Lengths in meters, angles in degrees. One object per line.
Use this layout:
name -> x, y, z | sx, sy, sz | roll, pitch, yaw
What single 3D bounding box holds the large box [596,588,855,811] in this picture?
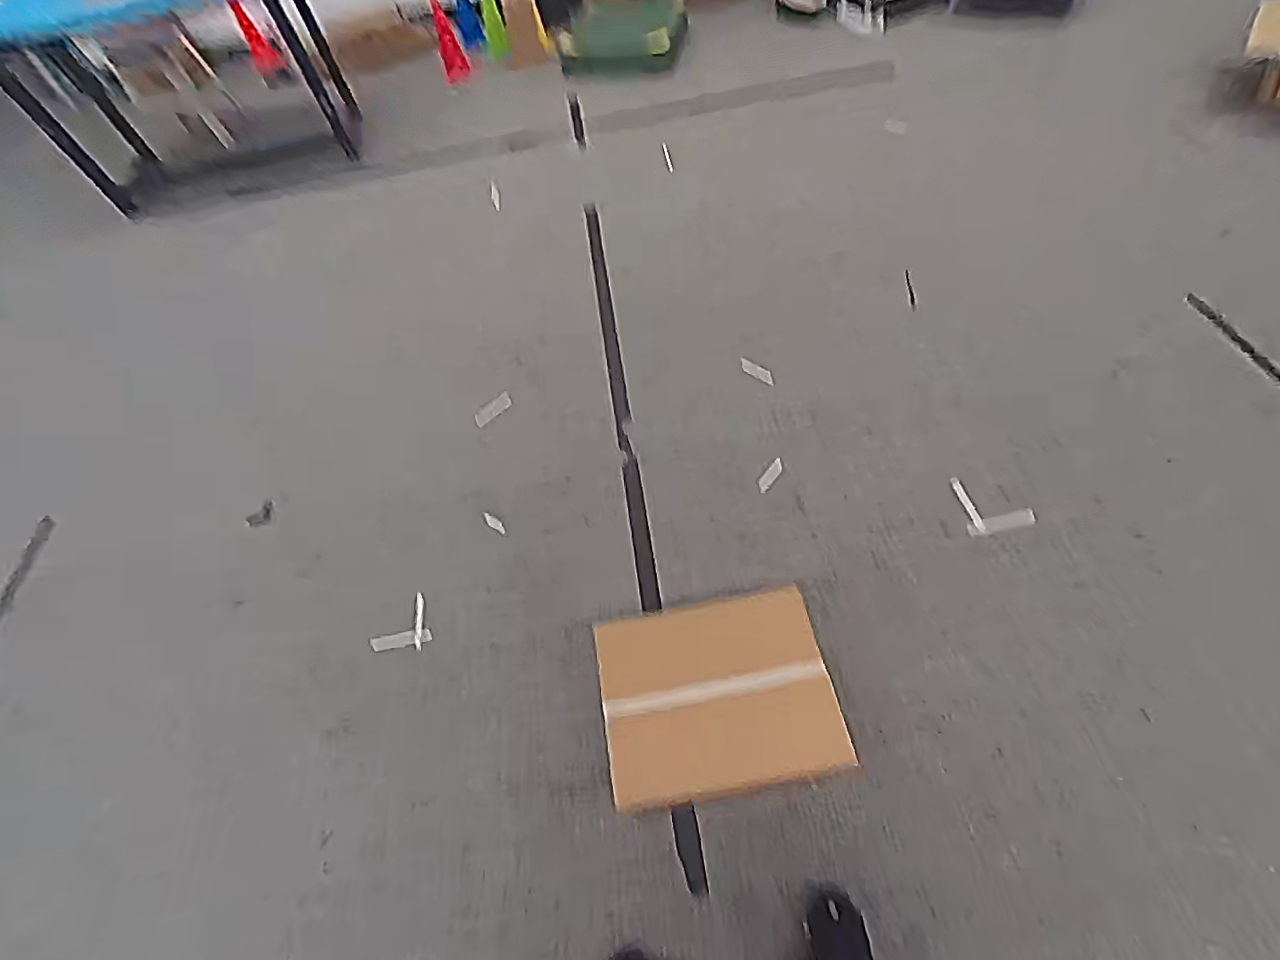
large box -> 0.151, 0.451, 1.088 | 0.408, 0.320, 0.320 | -11, 57, 0
